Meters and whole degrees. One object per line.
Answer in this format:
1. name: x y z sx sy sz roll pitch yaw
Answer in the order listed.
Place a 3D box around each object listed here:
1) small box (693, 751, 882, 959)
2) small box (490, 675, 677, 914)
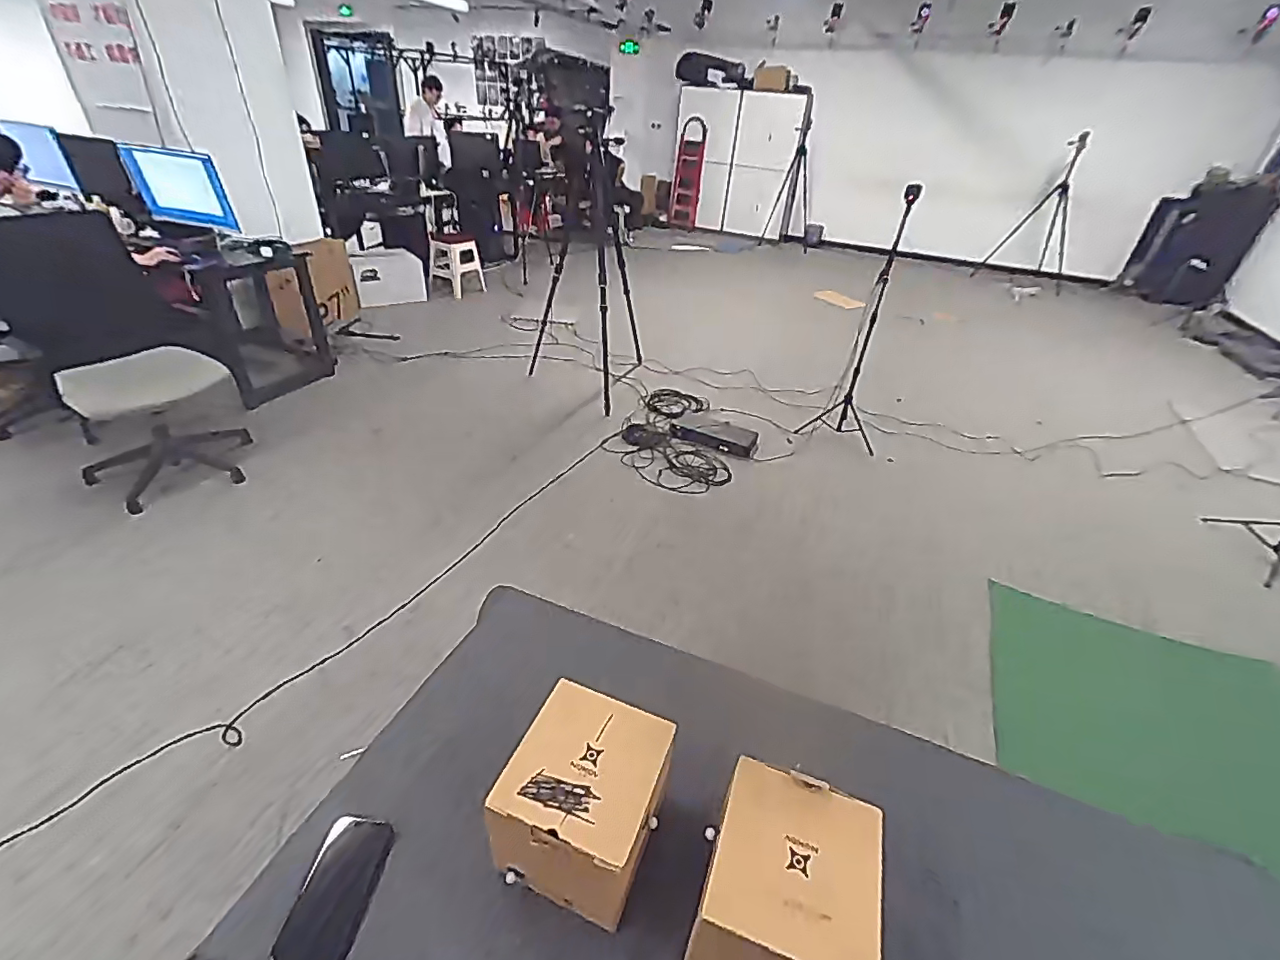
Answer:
1. small box: 0.164 0.459 0.615 0.168 0.176 0.179 14 36 15
2. small box: -0.063 0.391 0.679 0.168 0.176 0.179 16 35 16
